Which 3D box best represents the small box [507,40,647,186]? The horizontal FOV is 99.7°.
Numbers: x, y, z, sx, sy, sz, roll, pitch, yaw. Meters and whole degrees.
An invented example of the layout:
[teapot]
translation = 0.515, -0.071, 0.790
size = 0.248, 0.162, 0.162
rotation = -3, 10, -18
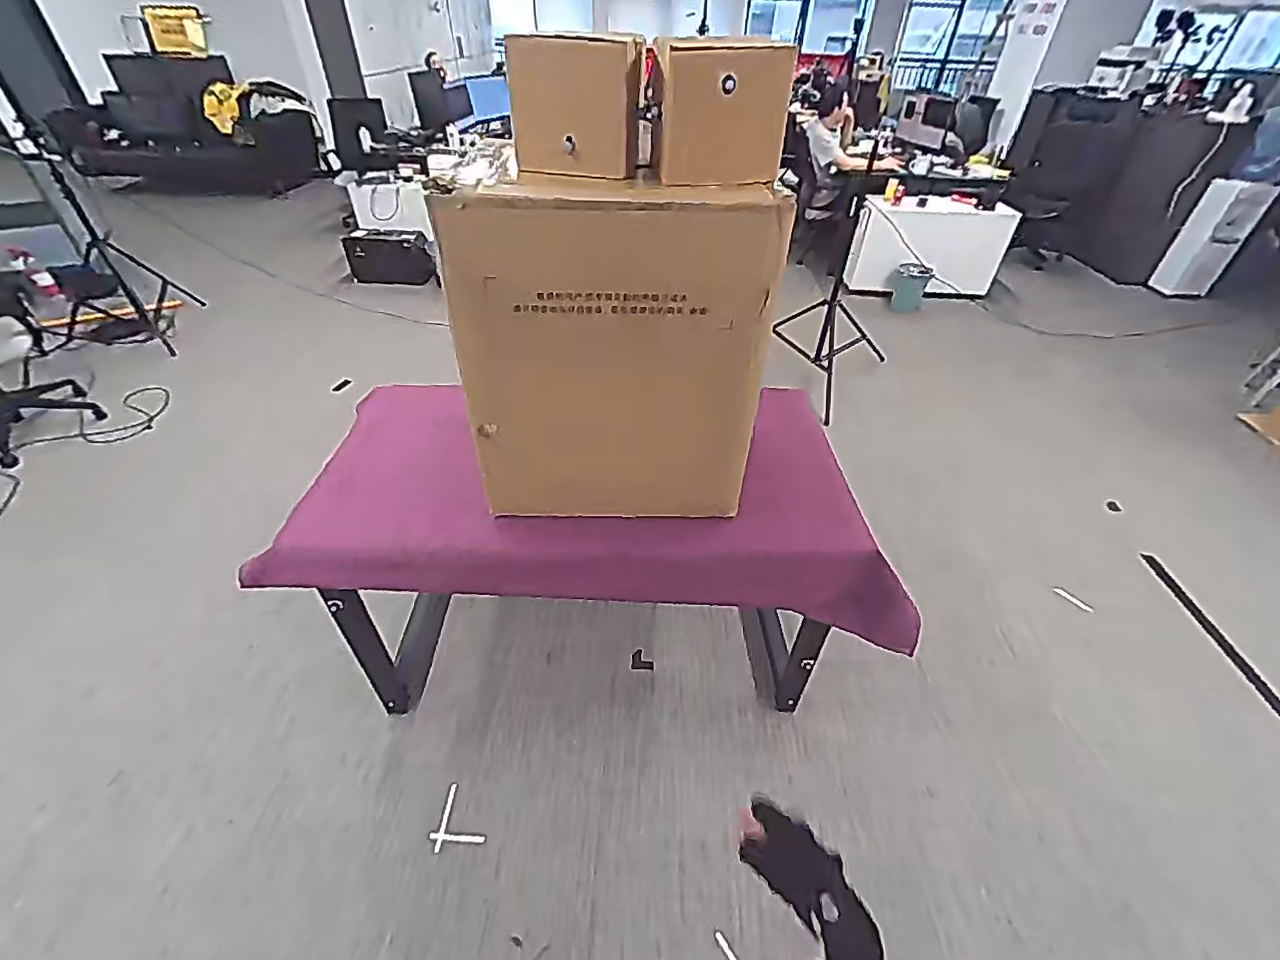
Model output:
[small box]
translation = -0.092, -0.576, 0.853
size = 0.179, 0.176, 0.168
rotation = 8, 40, 5
